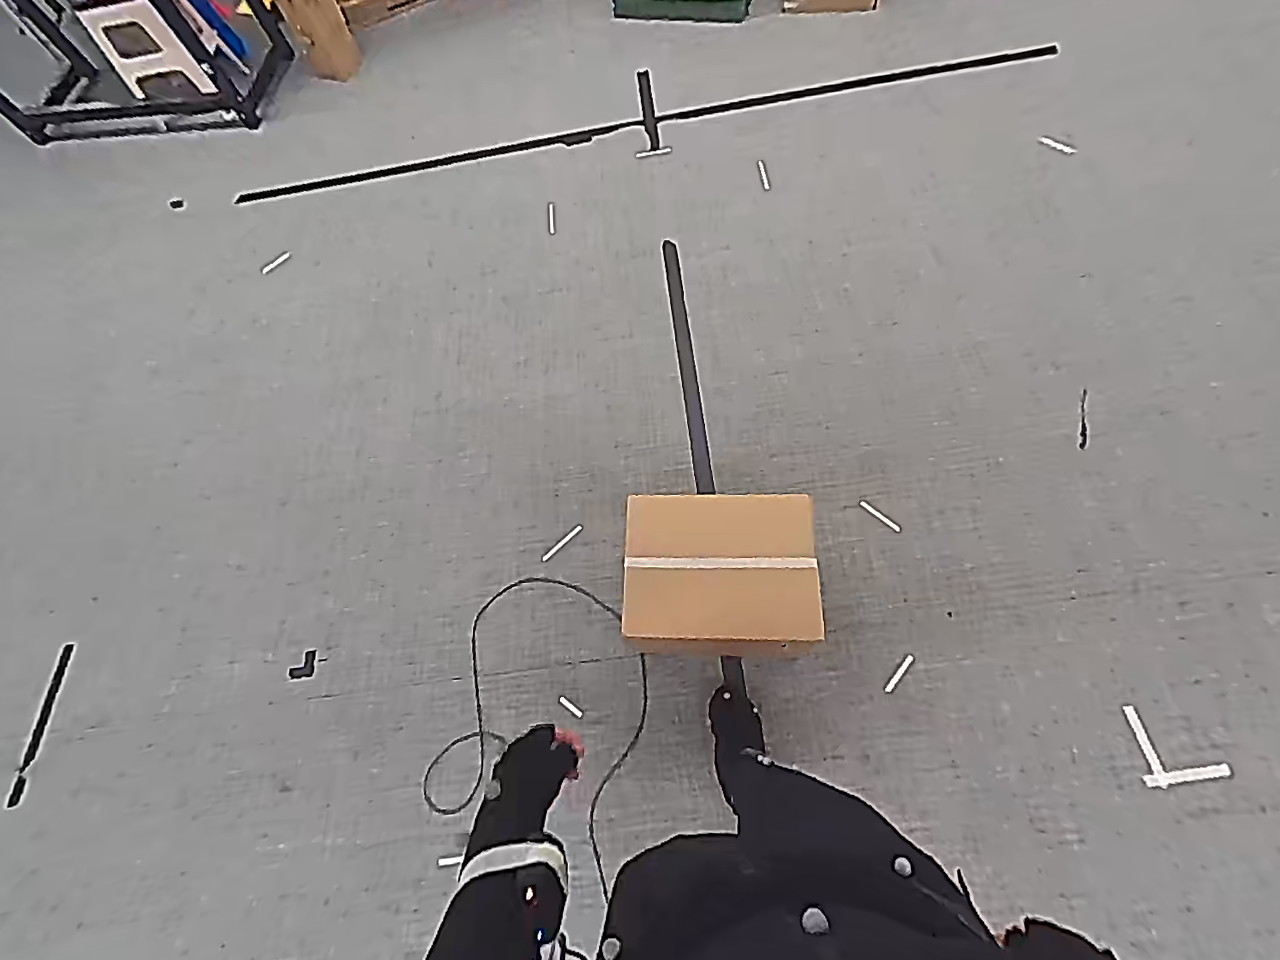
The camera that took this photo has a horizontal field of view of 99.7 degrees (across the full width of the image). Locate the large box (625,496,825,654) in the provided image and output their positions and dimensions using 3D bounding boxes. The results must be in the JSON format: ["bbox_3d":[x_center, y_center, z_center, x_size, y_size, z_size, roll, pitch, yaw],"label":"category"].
[{"bbox_3d":[0.185,0.239,1.273,0.408,0.320,0.320,-1,66,5],"label":"large box"}]
